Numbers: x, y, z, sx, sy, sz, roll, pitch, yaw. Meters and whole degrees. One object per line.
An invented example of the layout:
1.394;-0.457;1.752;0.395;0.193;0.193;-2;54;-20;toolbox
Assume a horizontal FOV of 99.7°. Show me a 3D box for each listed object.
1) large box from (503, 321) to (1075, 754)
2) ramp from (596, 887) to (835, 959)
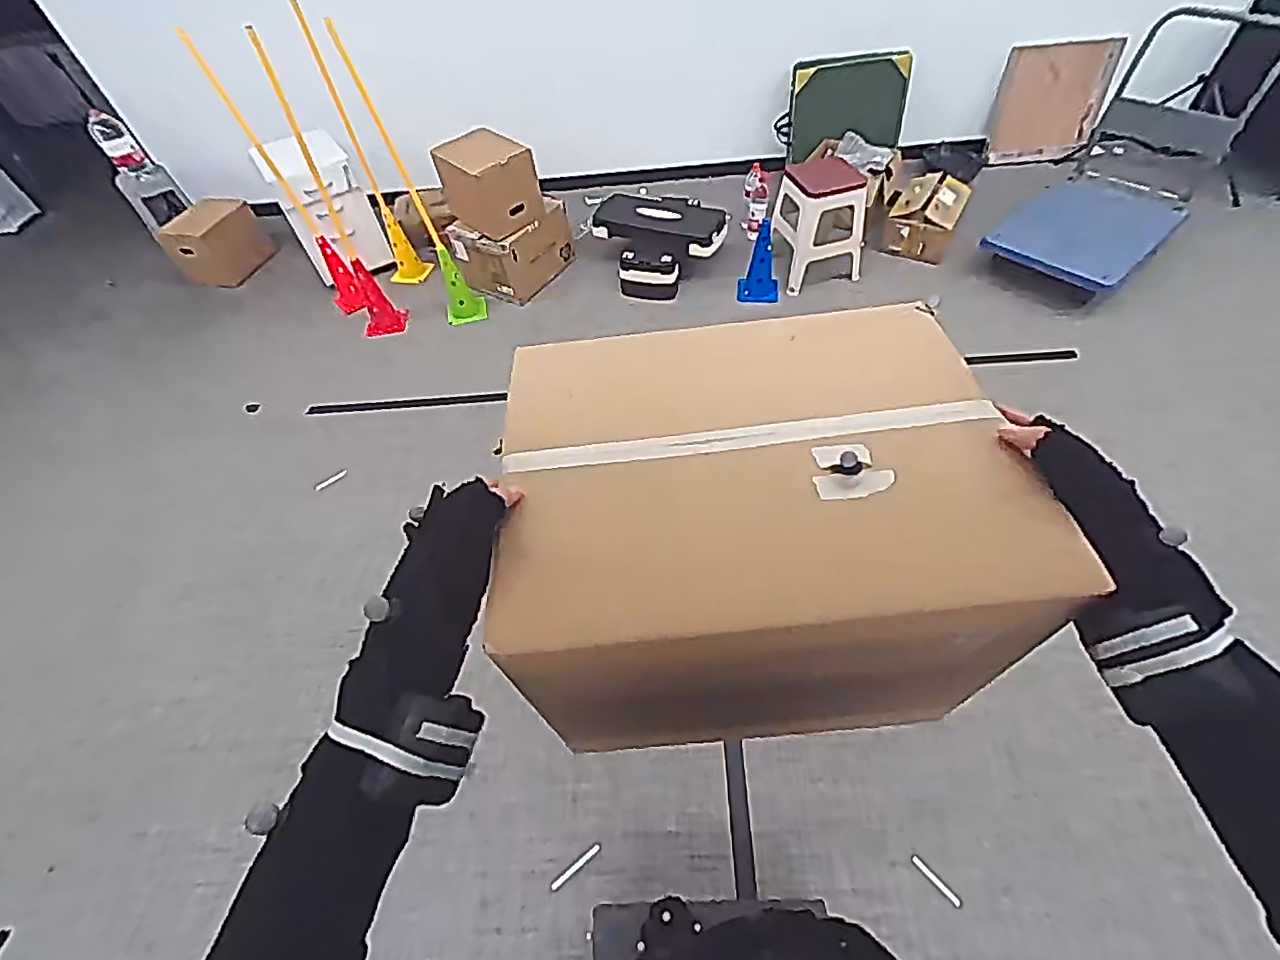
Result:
0.099;0.071;0.574;0.408;0.320;0.320;-6;52;1;large box
0.168;1.322;0.934;0.509;0.206;0.991;-4;53;1;ramp
